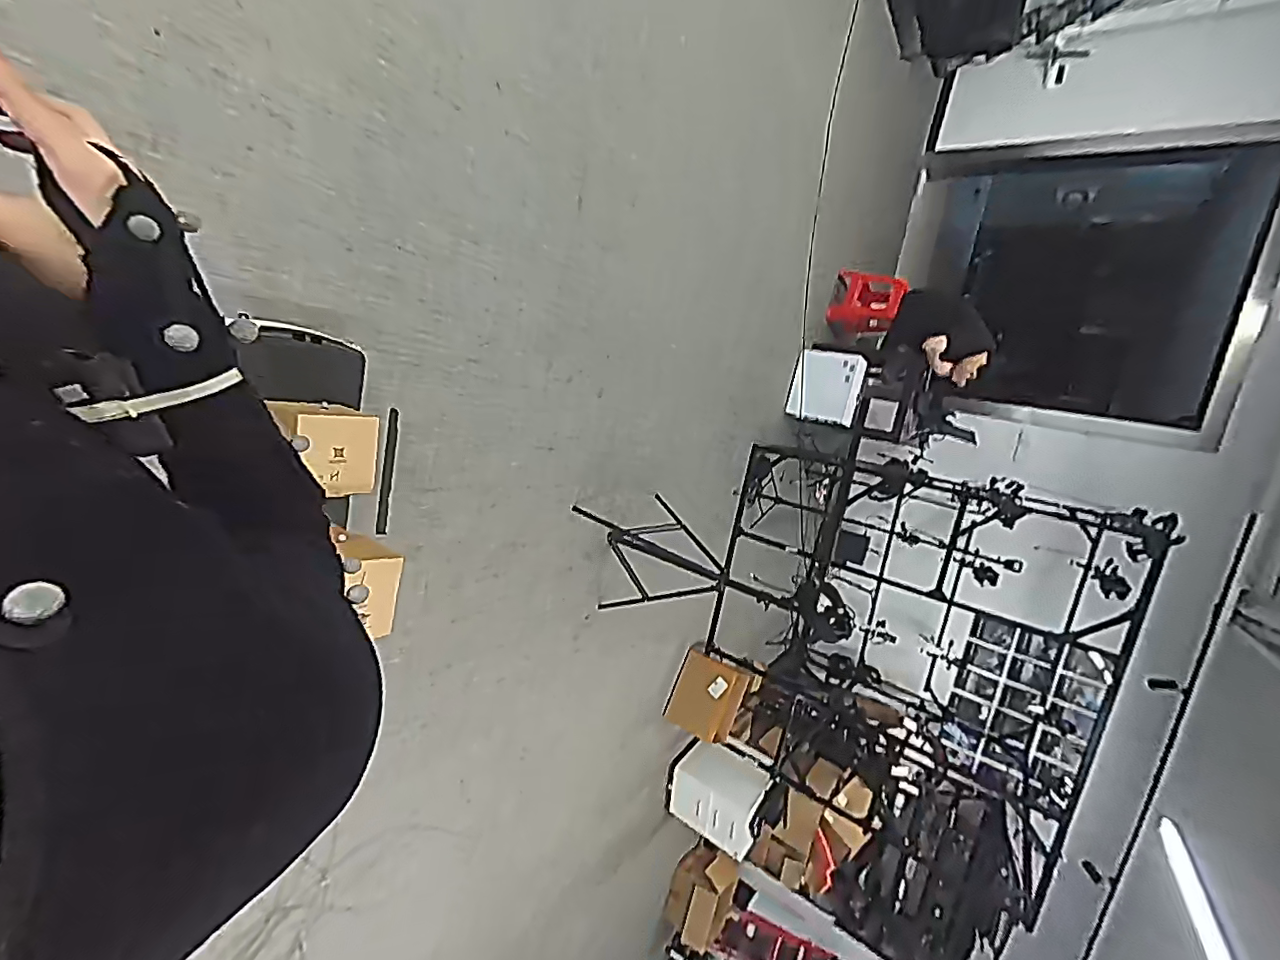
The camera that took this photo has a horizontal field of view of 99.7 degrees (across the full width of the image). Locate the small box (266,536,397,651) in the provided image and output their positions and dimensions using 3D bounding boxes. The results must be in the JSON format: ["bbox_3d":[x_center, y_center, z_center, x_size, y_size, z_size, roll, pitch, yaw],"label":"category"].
[{"bbox_3d":[-0.635,0.222,1.108,0.168,0.176,0.179,6,98,-57],"label":"small box"}]
